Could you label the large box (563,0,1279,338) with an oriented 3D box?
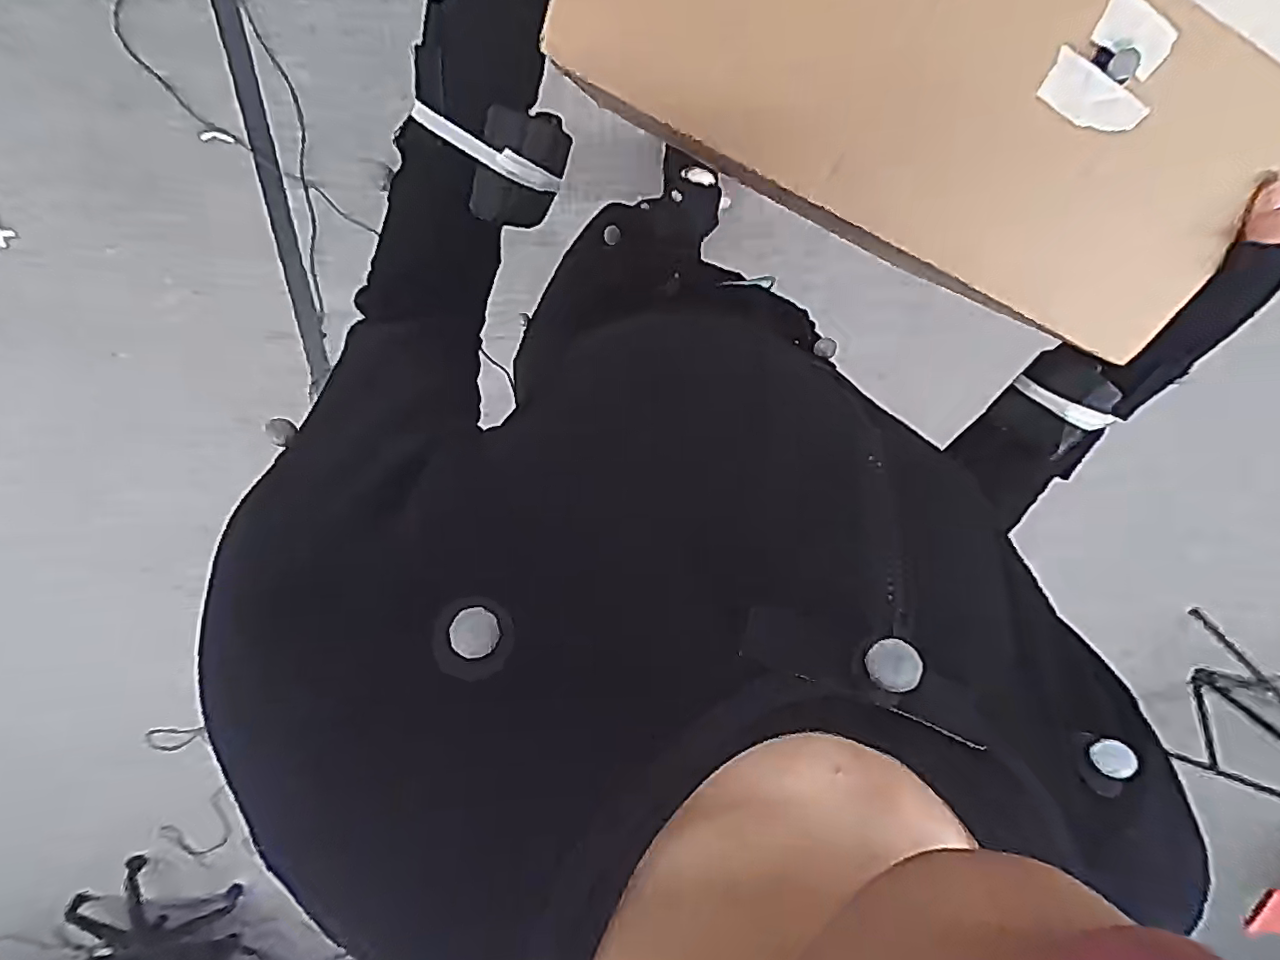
[{"bbox_3d":[0.196,-0.357,0.385,0.408,0.320,0.320,21,120,-12],"label":"large box"}]
